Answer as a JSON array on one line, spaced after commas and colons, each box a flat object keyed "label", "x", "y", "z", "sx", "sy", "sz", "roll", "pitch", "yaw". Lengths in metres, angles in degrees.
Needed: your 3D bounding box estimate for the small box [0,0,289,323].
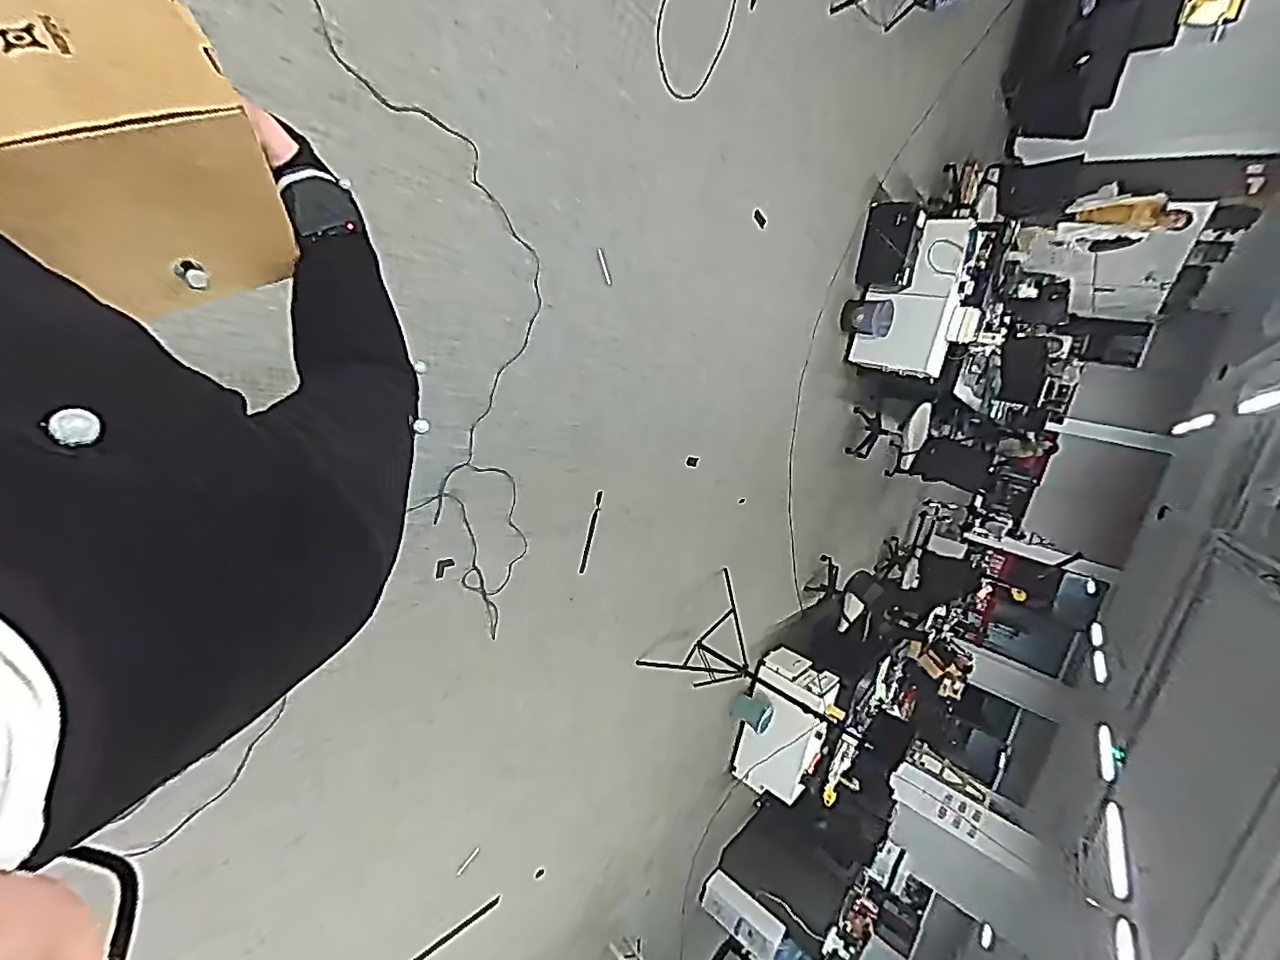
[{"label": "small box", "x": -0.419, "y": -0.261, "z": 0.437, "sx": 0.179, "sy": 0.168, "sz": 0.176, "roll": -32, "pitch": 171, "yaw": -26}]
